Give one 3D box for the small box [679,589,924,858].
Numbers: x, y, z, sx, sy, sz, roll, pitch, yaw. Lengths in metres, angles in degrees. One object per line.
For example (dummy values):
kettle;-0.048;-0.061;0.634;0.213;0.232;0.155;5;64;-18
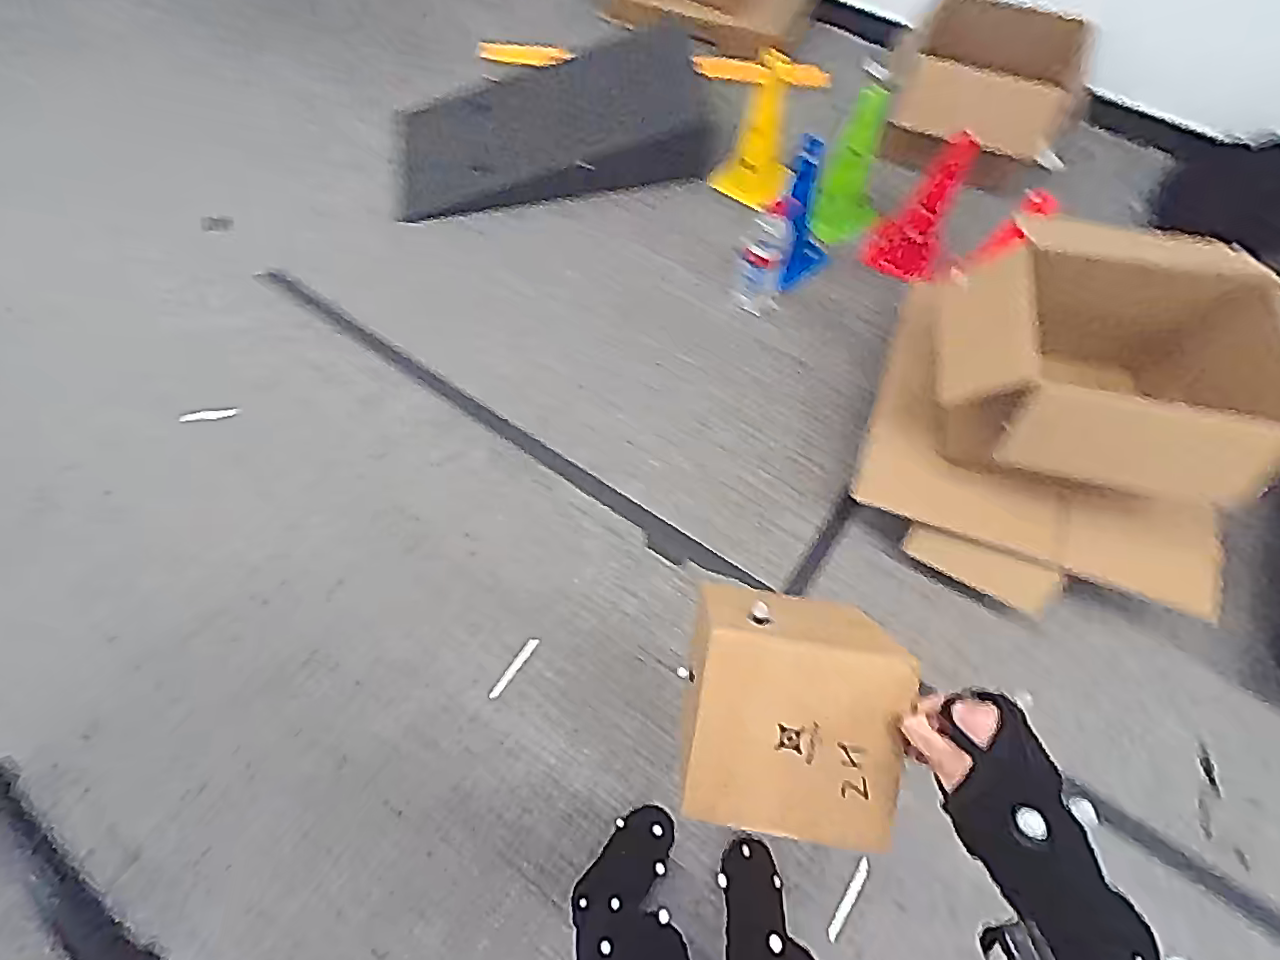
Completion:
small box;0.135;0.212;0.521;0.179;0.176;0.168;9;93;2
